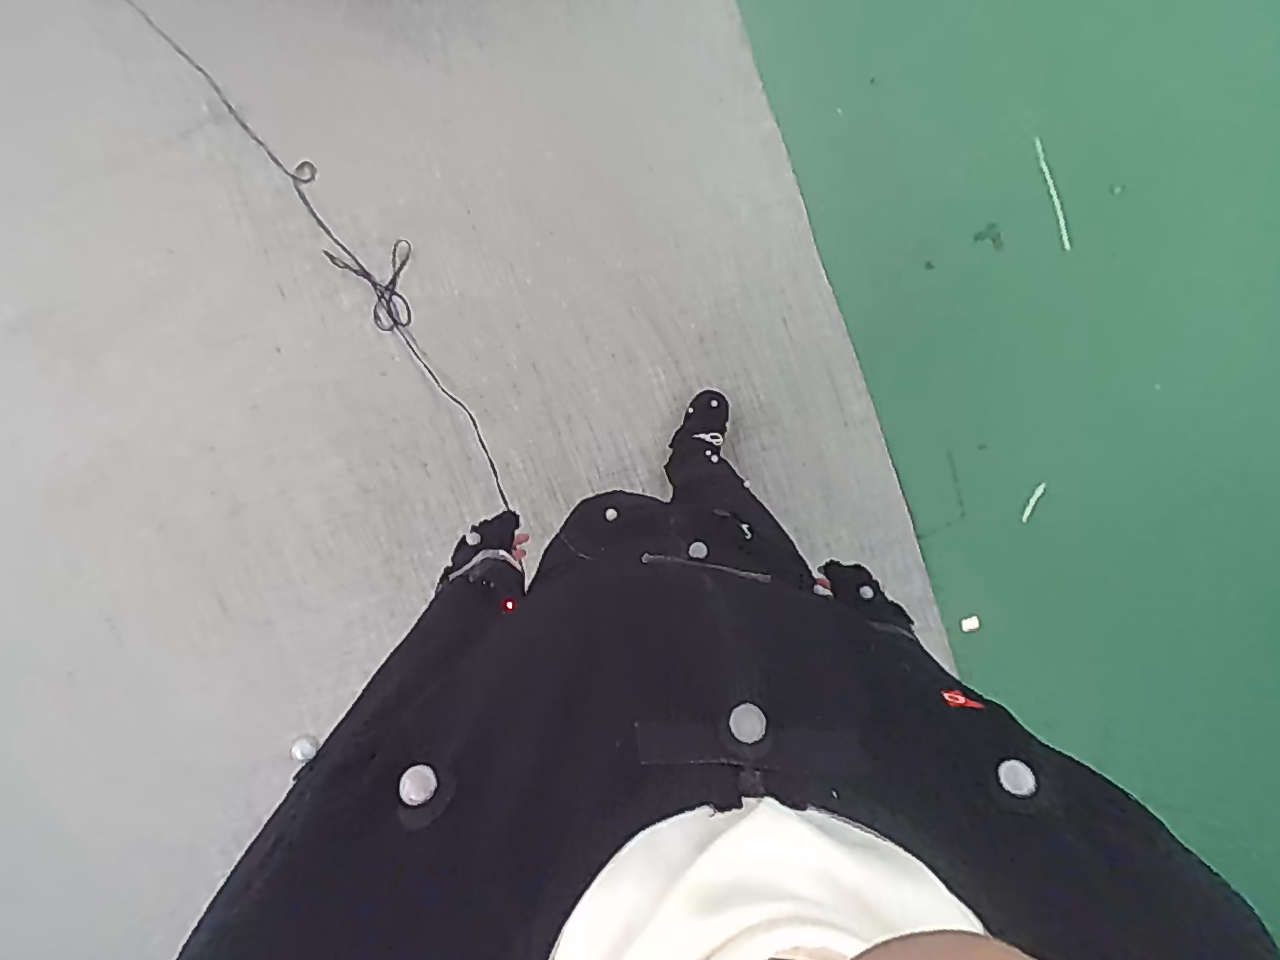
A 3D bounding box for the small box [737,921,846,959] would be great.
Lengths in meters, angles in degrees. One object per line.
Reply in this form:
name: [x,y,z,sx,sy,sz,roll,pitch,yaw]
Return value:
small box: [0.260,0.818,0.795,0.168,0.176,0.179,-22,91,-1]
